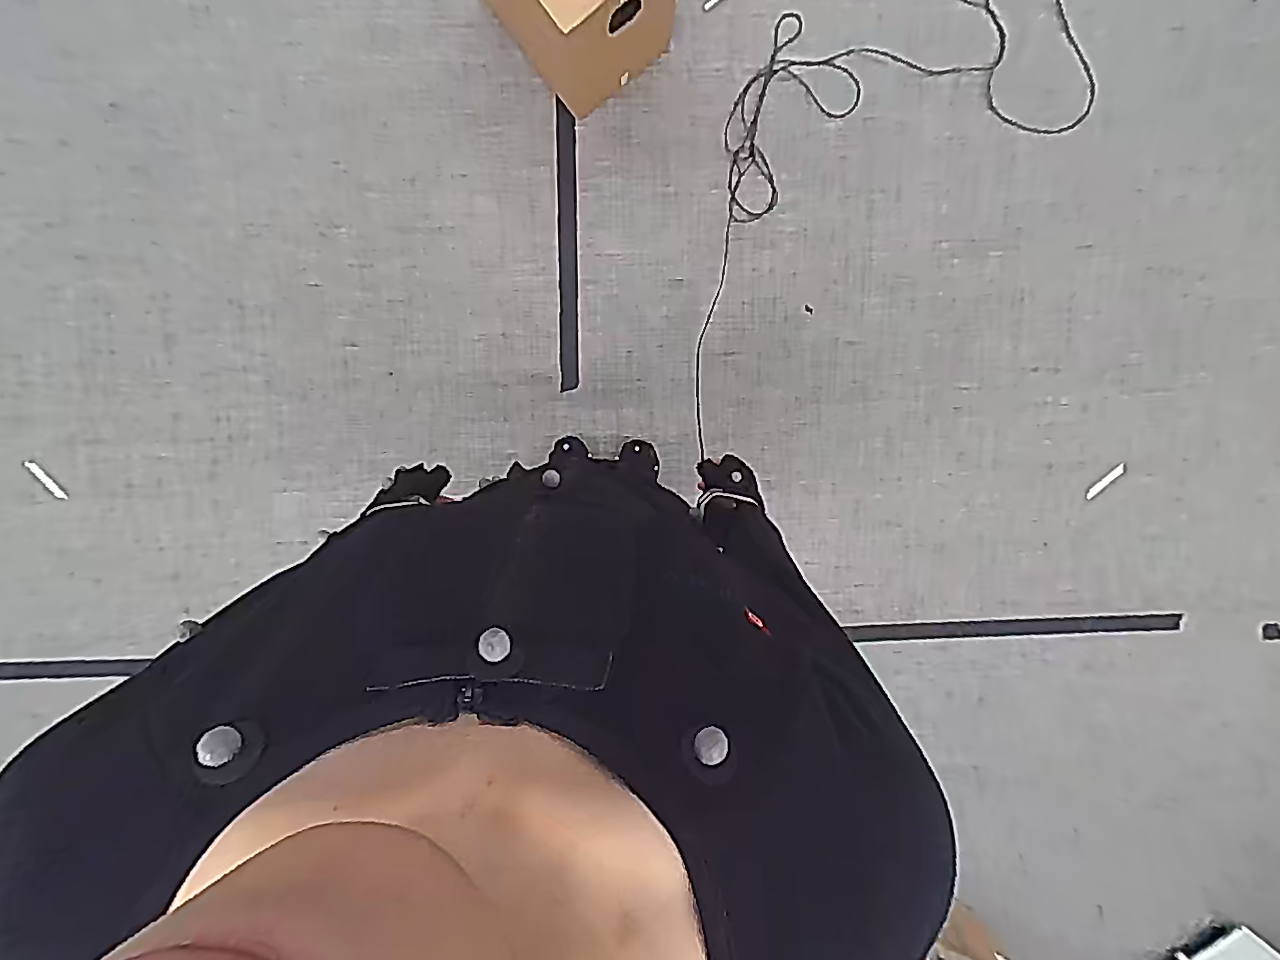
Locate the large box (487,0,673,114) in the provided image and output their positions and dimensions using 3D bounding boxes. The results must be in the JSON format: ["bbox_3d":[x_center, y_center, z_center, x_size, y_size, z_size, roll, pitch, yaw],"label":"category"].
[{"bbox_3d":[-0.162,-1.178,1.237,0.320,0.320,0.408,-39,96,2],"label":"large box"}]
